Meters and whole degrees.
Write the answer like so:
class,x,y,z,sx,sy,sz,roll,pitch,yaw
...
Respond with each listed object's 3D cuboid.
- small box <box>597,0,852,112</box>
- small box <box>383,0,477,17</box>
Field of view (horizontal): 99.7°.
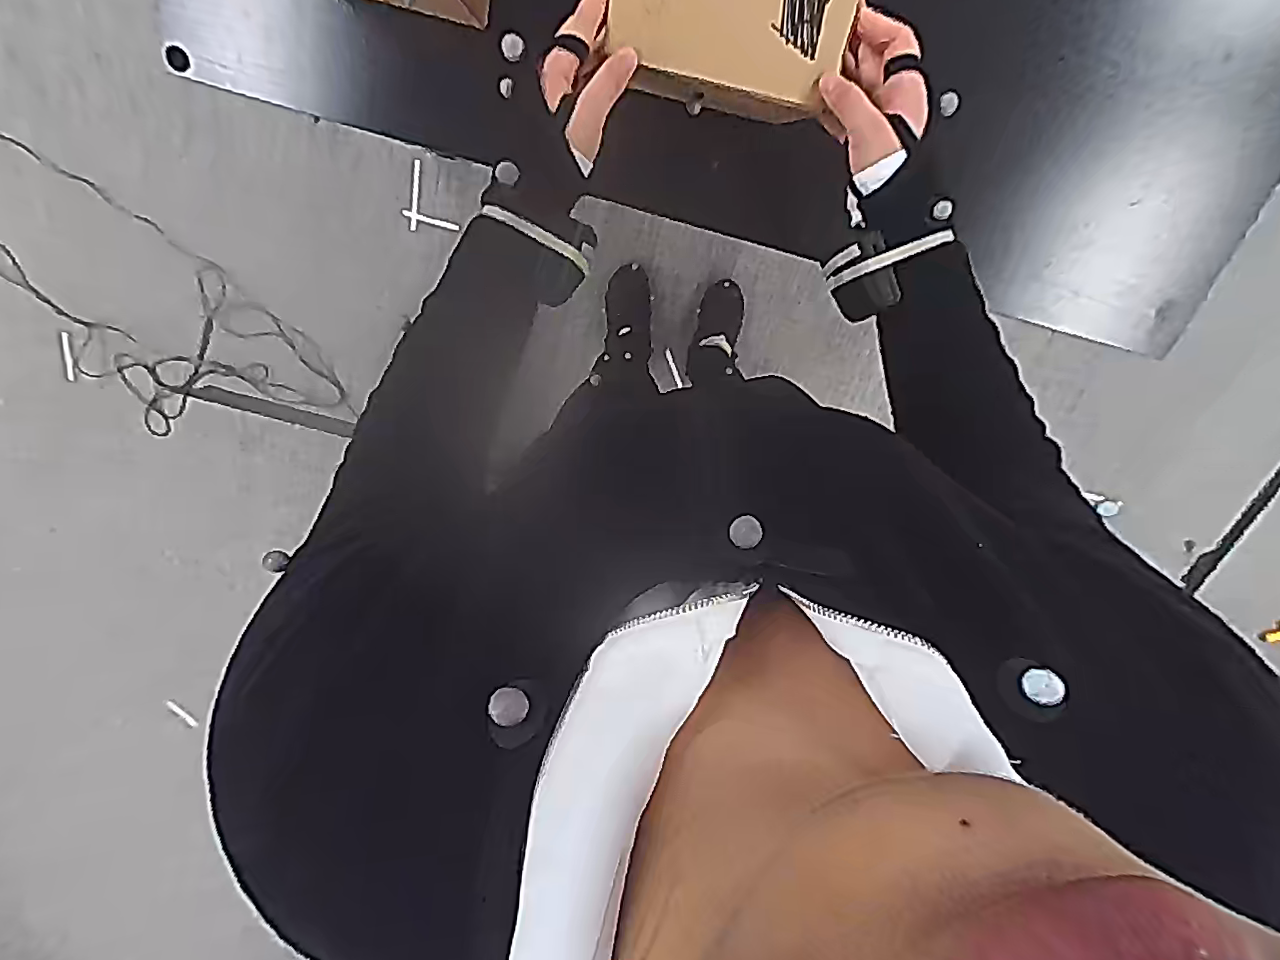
class,x,y,z,sx,sy,sz,roll,pitch,yaw
small box,0.069,-0.409,0.430,0.179,0.176,0.168,10,120,-6
small box,-0.228,-0.527,0.448,0.179,0.176,0.168,12,113,-3
